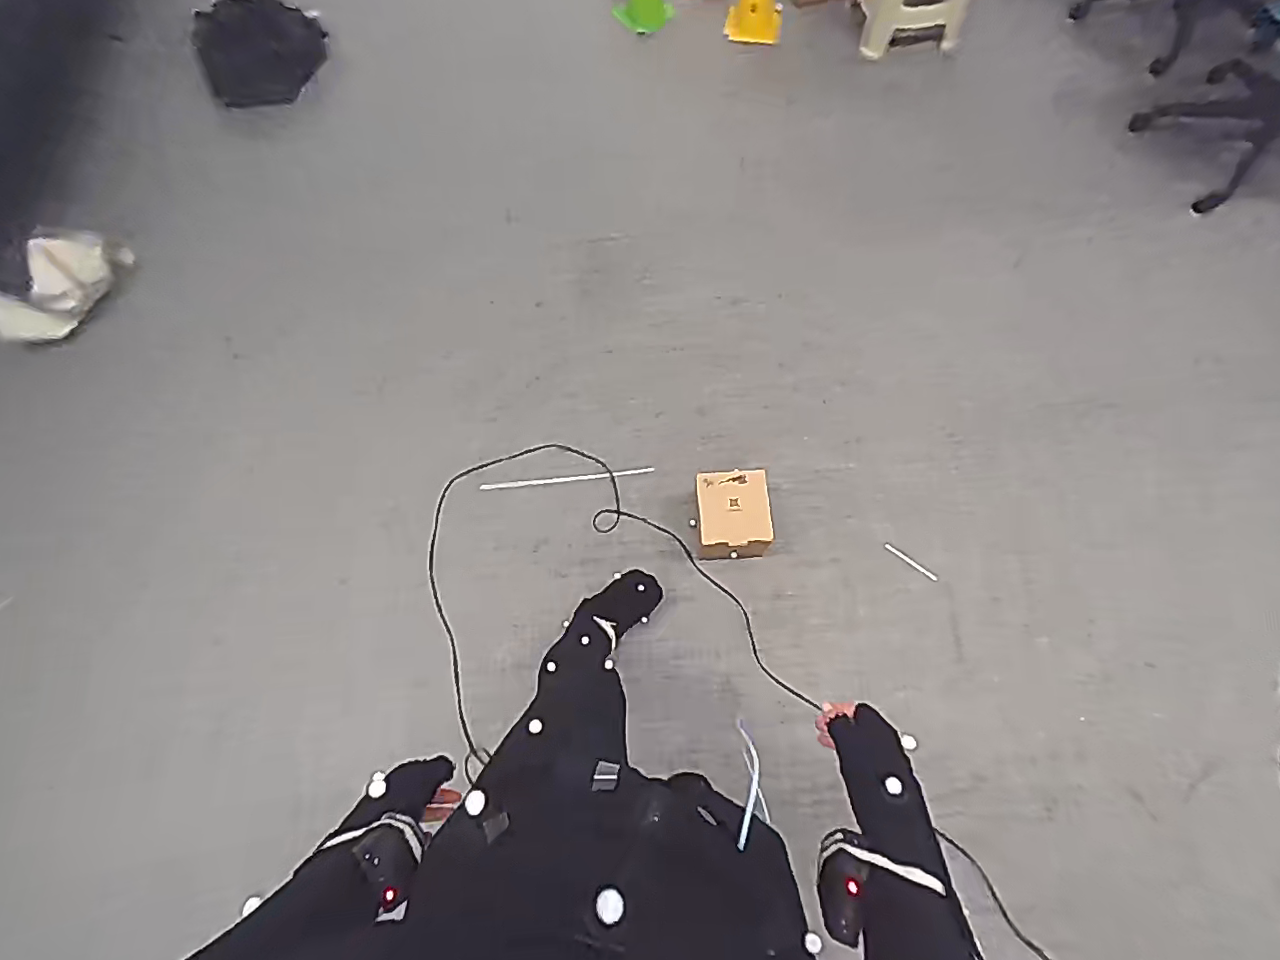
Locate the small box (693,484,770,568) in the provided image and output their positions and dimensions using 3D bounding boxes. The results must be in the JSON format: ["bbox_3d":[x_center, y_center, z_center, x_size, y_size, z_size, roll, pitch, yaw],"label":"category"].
[{"bbox_3d":[0.218,0.119,1.328,0.168,0.176,0.179,-3,70,3],"label":"small box"}]
